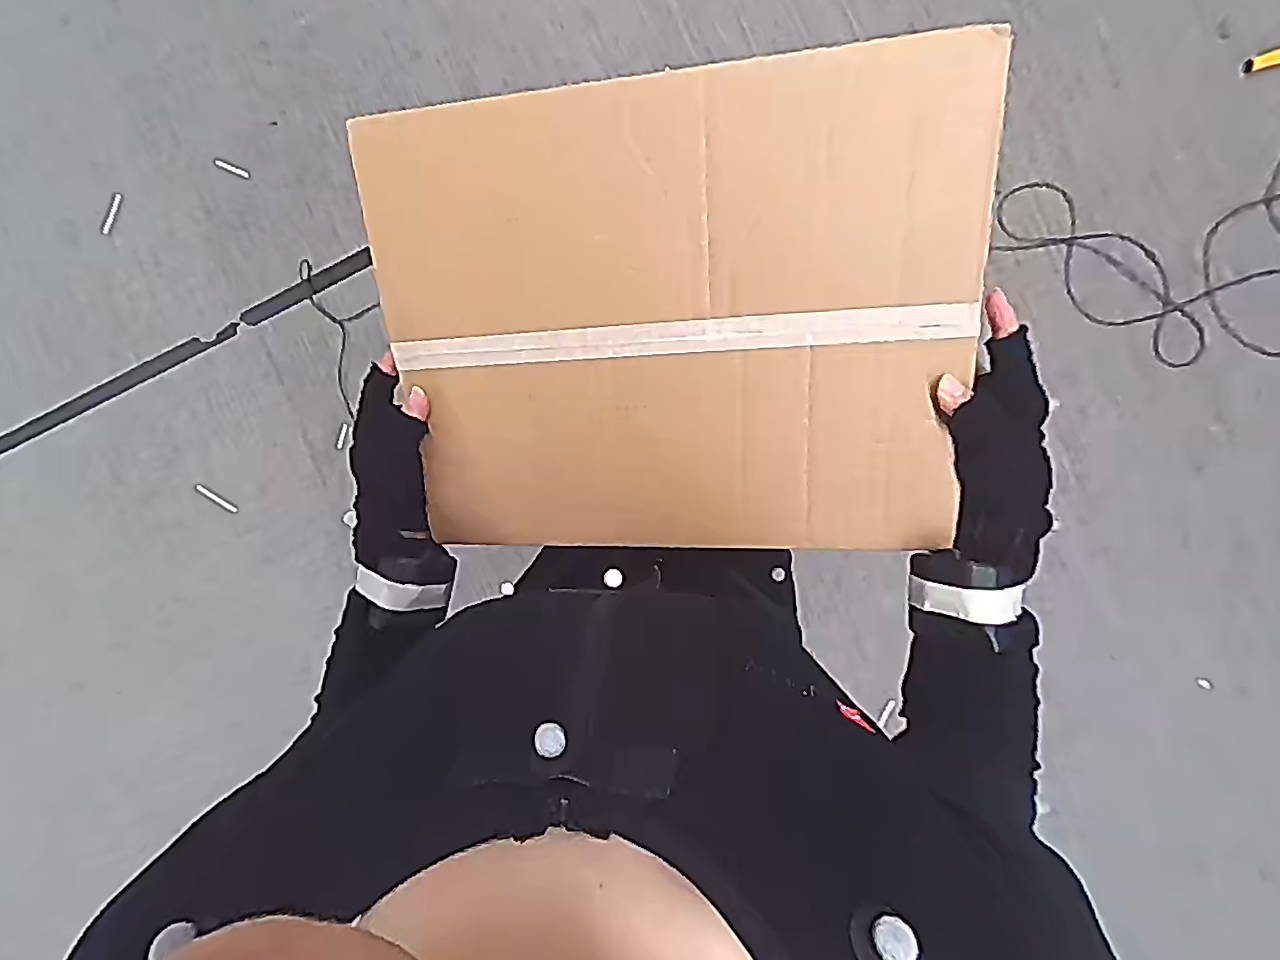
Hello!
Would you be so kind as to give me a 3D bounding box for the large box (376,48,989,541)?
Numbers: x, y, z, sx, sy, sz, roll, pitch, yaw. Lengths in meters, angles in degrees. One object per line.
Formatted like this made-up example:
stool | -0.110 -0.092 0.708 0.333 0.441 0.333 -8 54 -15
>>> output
large box | 0.041 -0.143 0.529 0.408 0.320 0.320 -1 109 10
